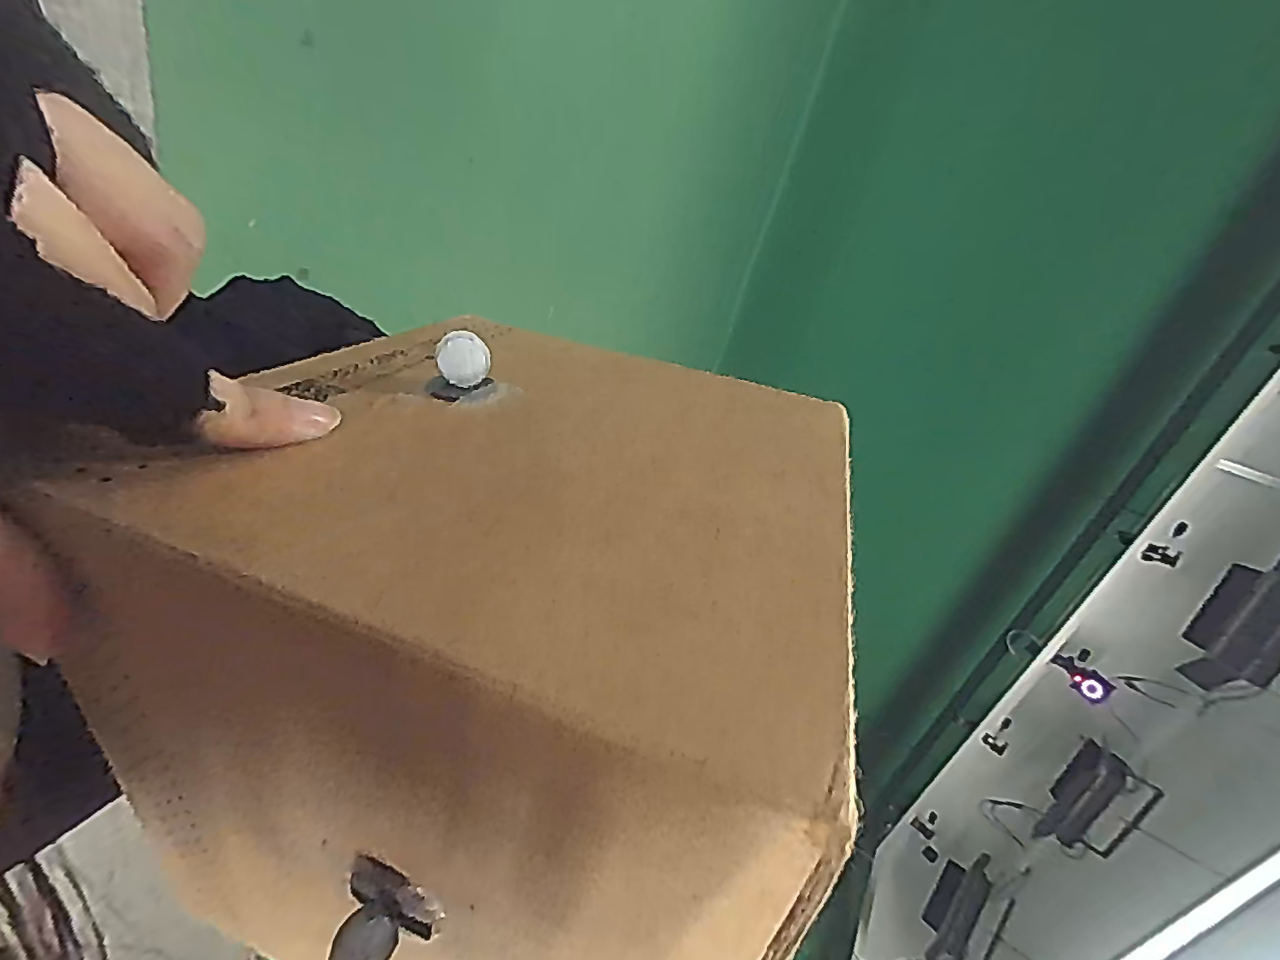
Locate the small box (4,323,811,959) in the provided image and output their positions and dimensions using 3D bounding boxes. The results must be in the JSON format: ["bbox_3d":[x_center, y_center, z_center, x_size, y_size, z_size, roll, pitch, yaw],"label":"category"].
[{"bbox_3d":[-0.049,0.056,0.201,0.168,0.176,0.179,-54,157,-59],"label":"small box"}]
